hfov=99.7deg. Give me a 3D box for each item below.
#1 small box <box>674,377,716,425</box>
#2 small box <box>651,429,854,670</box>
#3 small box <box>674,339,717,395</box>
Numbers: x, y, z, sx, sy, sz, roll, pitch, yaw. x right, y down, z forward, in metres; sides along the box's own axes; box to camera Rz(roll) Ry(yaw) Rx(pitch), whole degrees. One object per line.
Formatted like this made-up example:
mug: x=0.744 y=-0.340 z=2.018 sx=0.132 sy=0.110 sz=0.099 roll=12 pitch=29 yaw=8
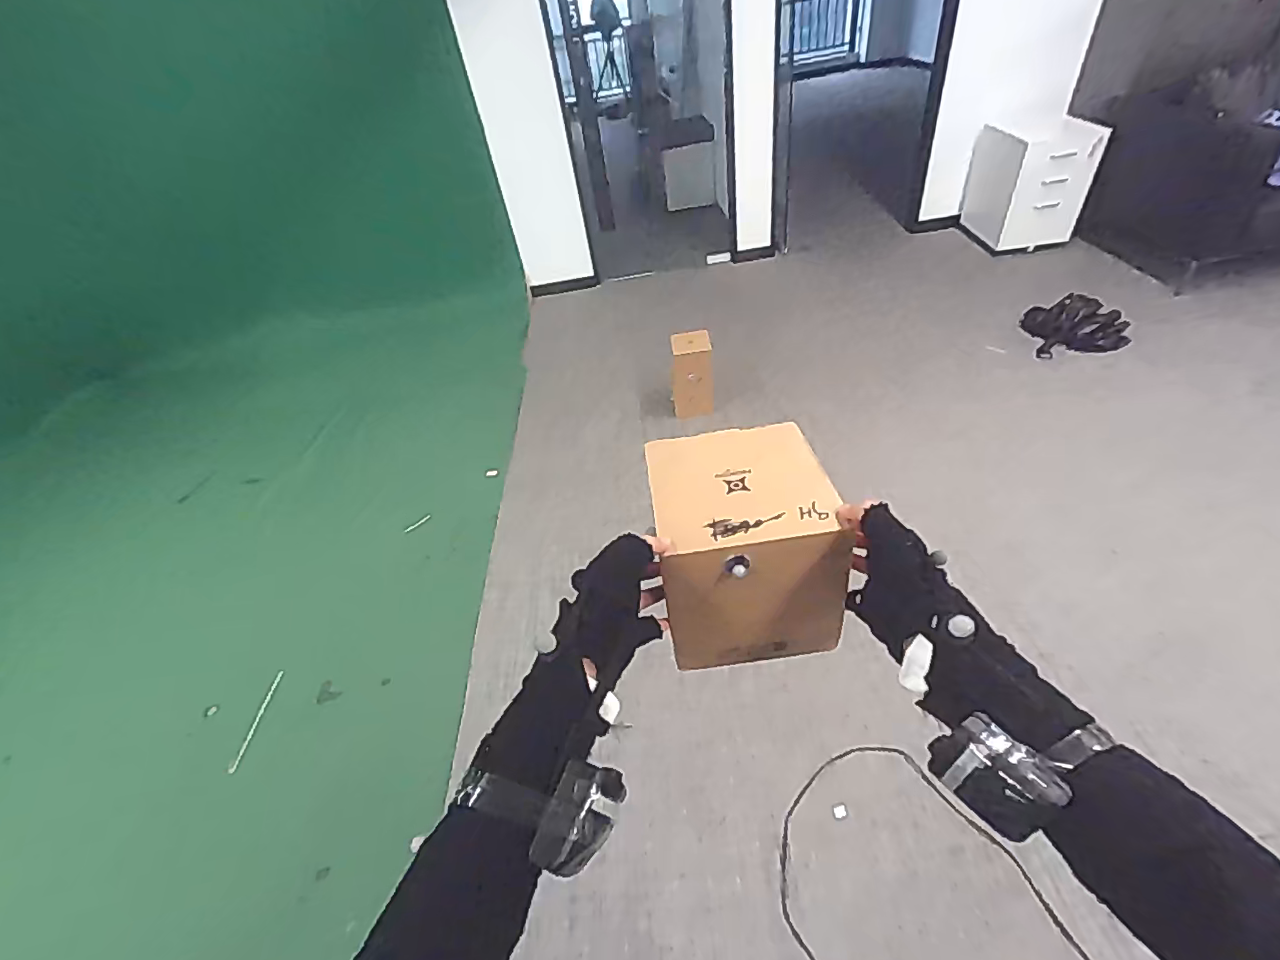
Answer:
small box: x=0.256 y=-0.375 z=2.505 sx=0.179 sy=0.176 sz=0.168 roll=-8 pitch=41 yaw=6
small box: x=0.106 y=0.069 z=0.570 sx=0.168 sy=0.176 sz=0.179 roll=-9 pitch=35 yaw=2
small box: x=0.246 y=-0.502 z=2.405 sx=0.168 sy=0.176 sz=0.179 roll=-9 pitch=42 yaw=5
